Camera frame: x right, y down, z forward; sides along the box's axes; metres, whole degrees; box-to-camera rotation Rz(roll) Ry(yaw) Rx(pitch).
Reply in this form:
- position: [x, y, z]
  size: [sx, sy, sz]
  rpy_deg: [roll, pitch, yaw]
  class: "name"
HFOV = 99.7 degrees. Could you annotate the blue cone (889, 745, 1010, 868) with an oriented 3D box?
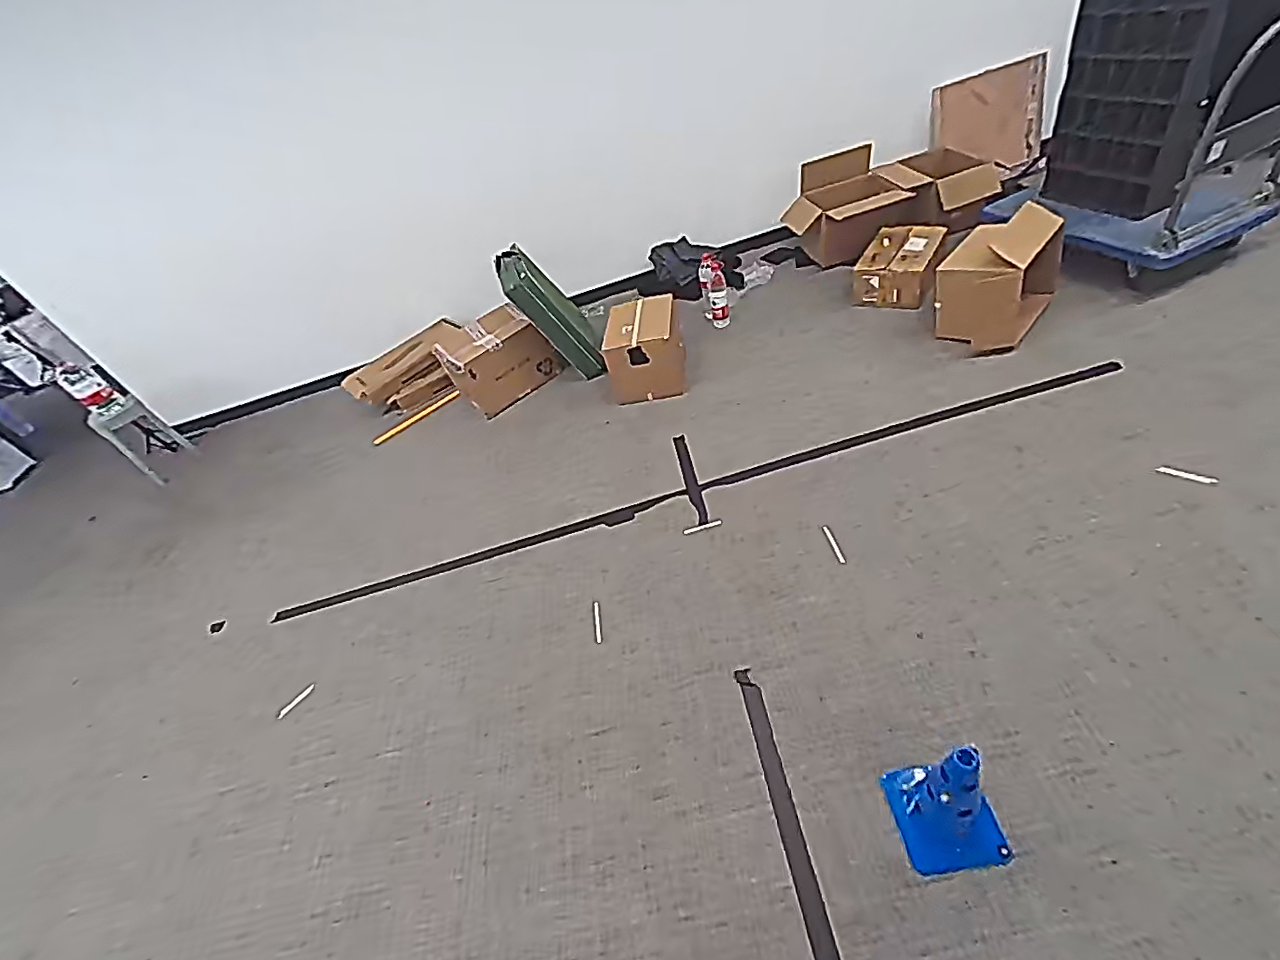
- position: [0.618, 0.608, 1.060]
  size: [0.192, 0.380, 0.193]
  rpy_deg: [-13, 42, 7]
  class: "blue cone"
